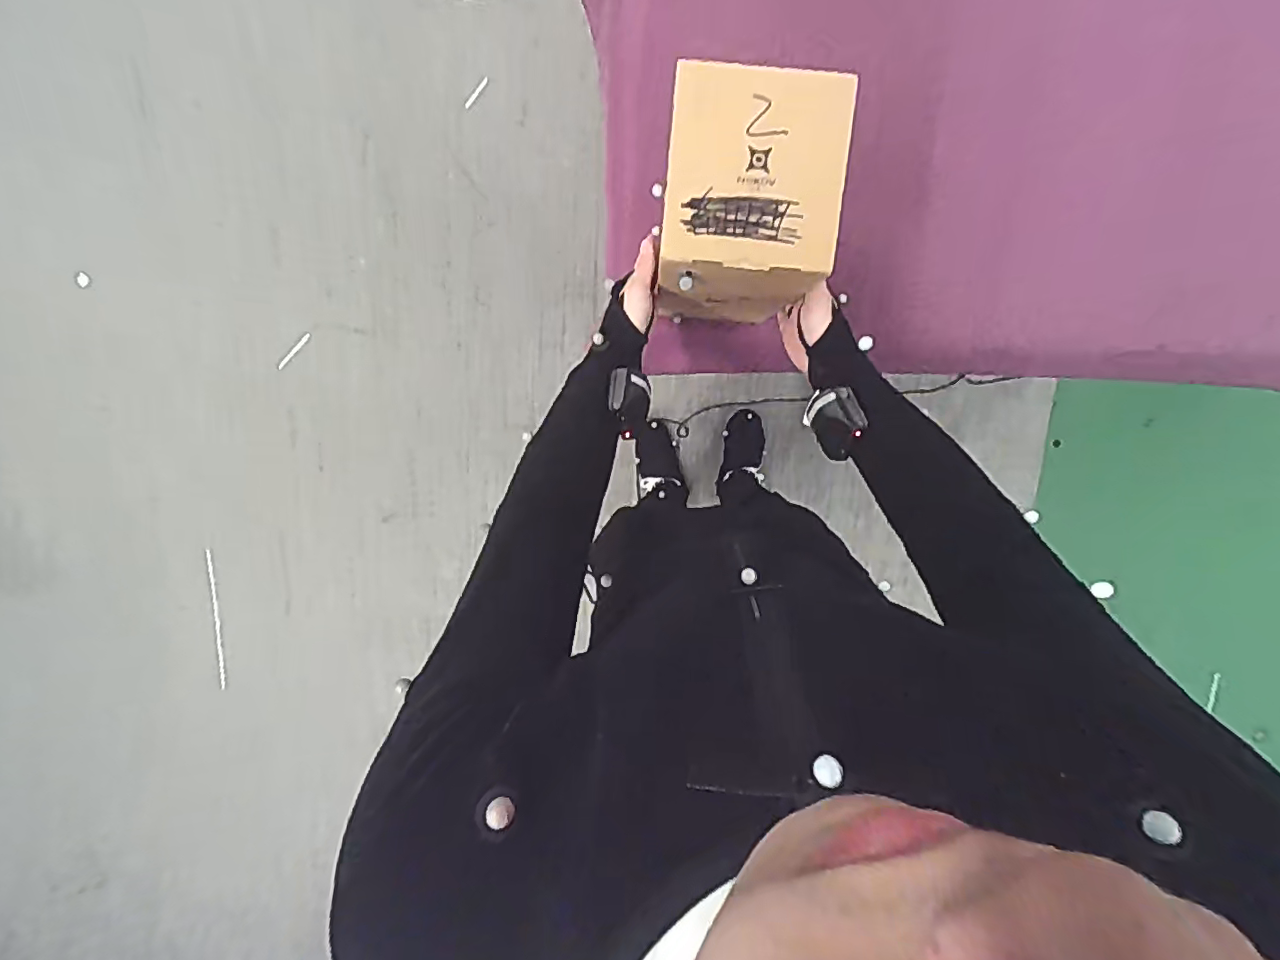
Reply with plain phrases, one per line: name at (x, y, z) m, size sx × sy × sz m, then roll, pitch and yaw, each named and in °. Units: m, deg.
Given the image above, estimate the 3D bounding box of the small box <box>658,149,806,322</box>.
small box at (0.114, -0.319, 0.743) m, size 0.168 × 0.176 × 0.179 m, roll 4°, pitch 98°, yaw 0°
